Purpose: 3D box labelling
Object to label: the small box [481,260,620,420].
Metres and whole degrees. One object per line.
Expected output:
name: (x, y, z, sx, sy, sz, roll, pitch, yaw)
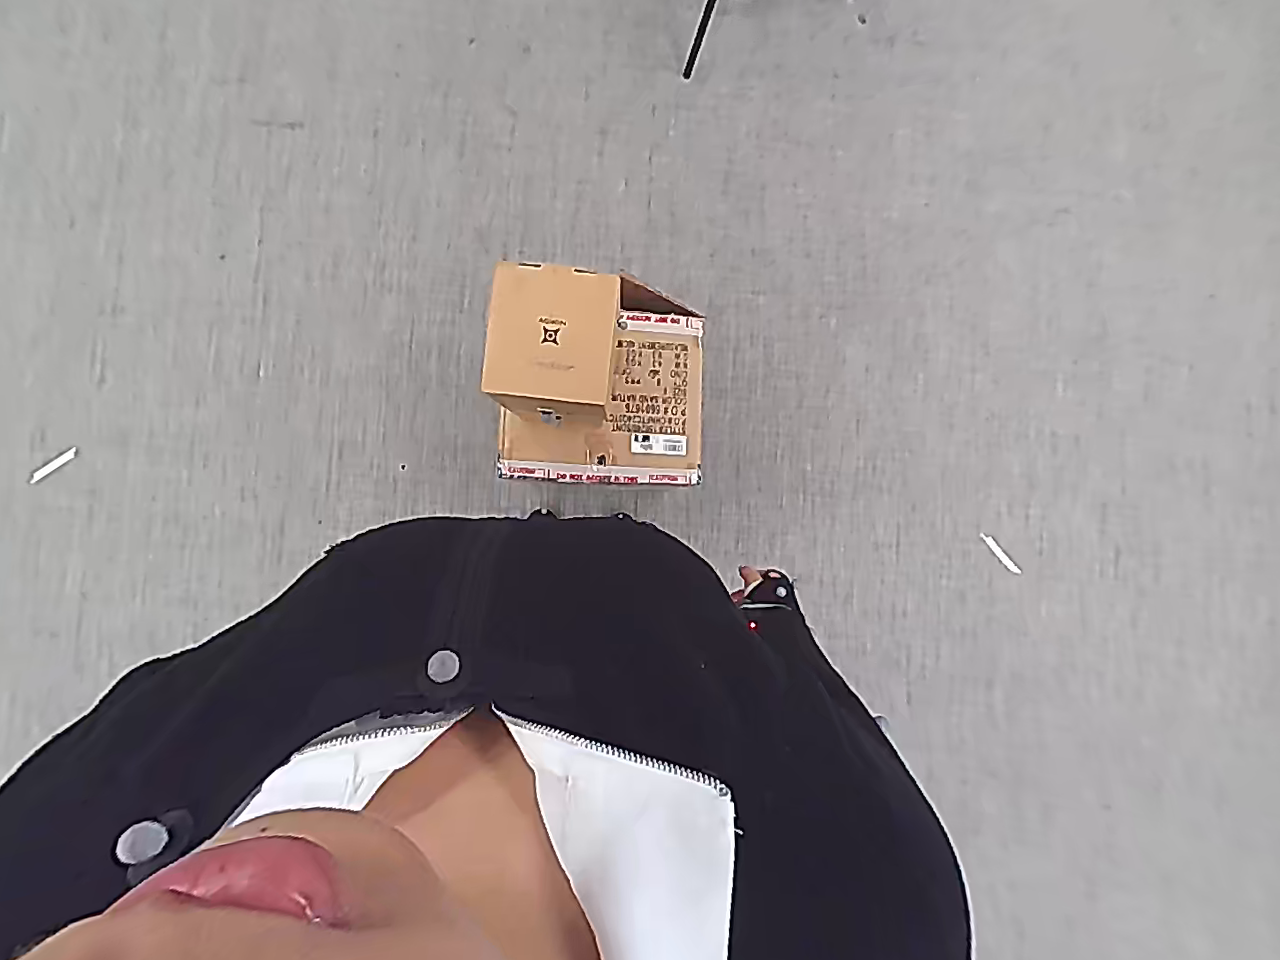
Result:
small box: (-0.119, -0.190, 0.781, 0.168, 0.176, 0.179, 6, 90, -2)
